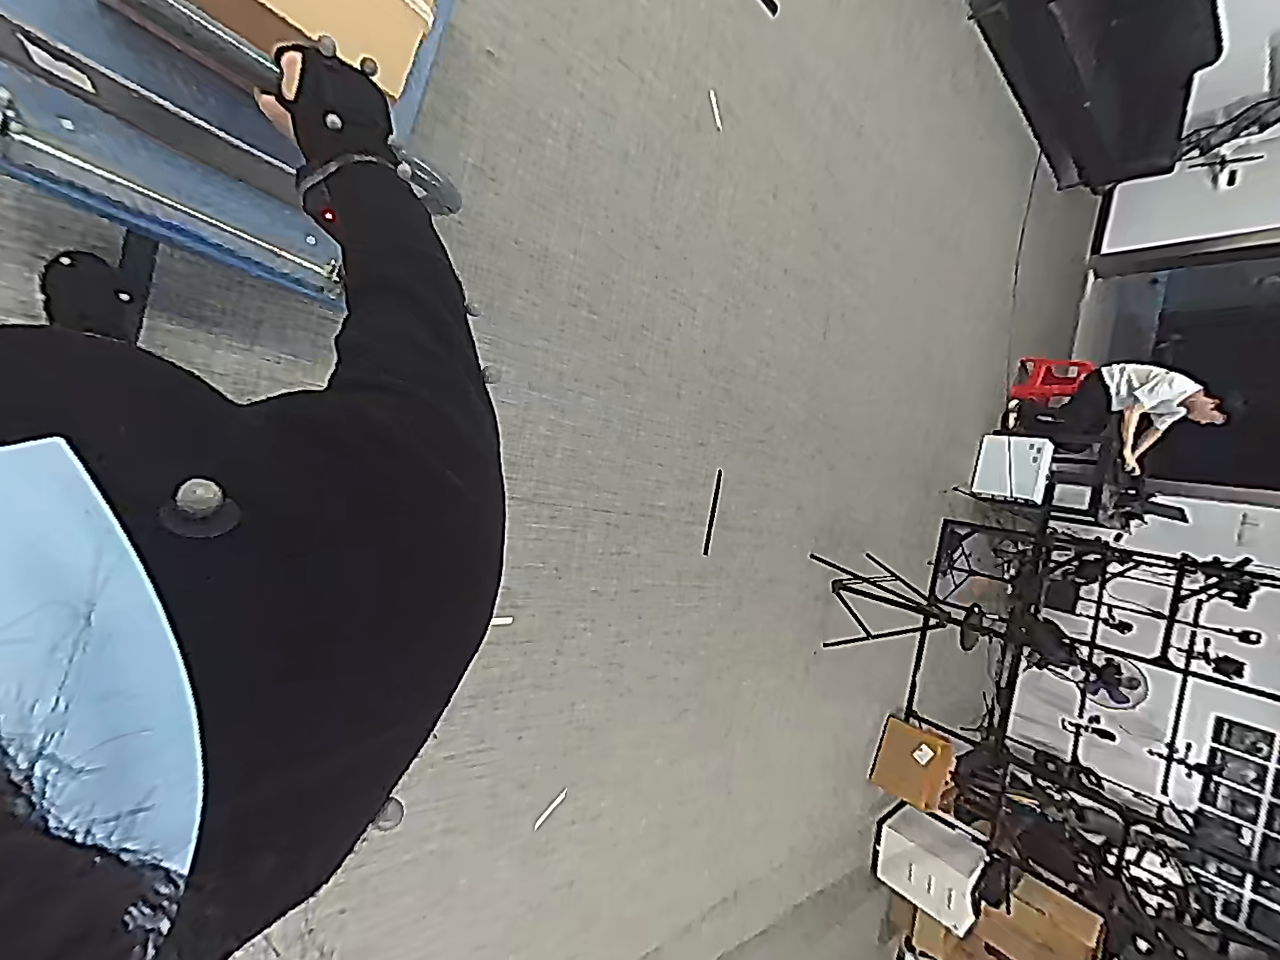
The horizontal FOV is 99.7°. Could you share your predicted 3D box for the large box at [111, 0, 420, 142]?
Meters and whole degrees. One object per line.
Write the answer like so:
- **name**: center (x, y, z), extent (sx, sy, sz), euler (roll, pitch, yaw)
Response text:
- **large box**: center (-0.612, -0.870, 0.901), extent (0.408, 0.320, 0.320), euler (20, 84, -40)
